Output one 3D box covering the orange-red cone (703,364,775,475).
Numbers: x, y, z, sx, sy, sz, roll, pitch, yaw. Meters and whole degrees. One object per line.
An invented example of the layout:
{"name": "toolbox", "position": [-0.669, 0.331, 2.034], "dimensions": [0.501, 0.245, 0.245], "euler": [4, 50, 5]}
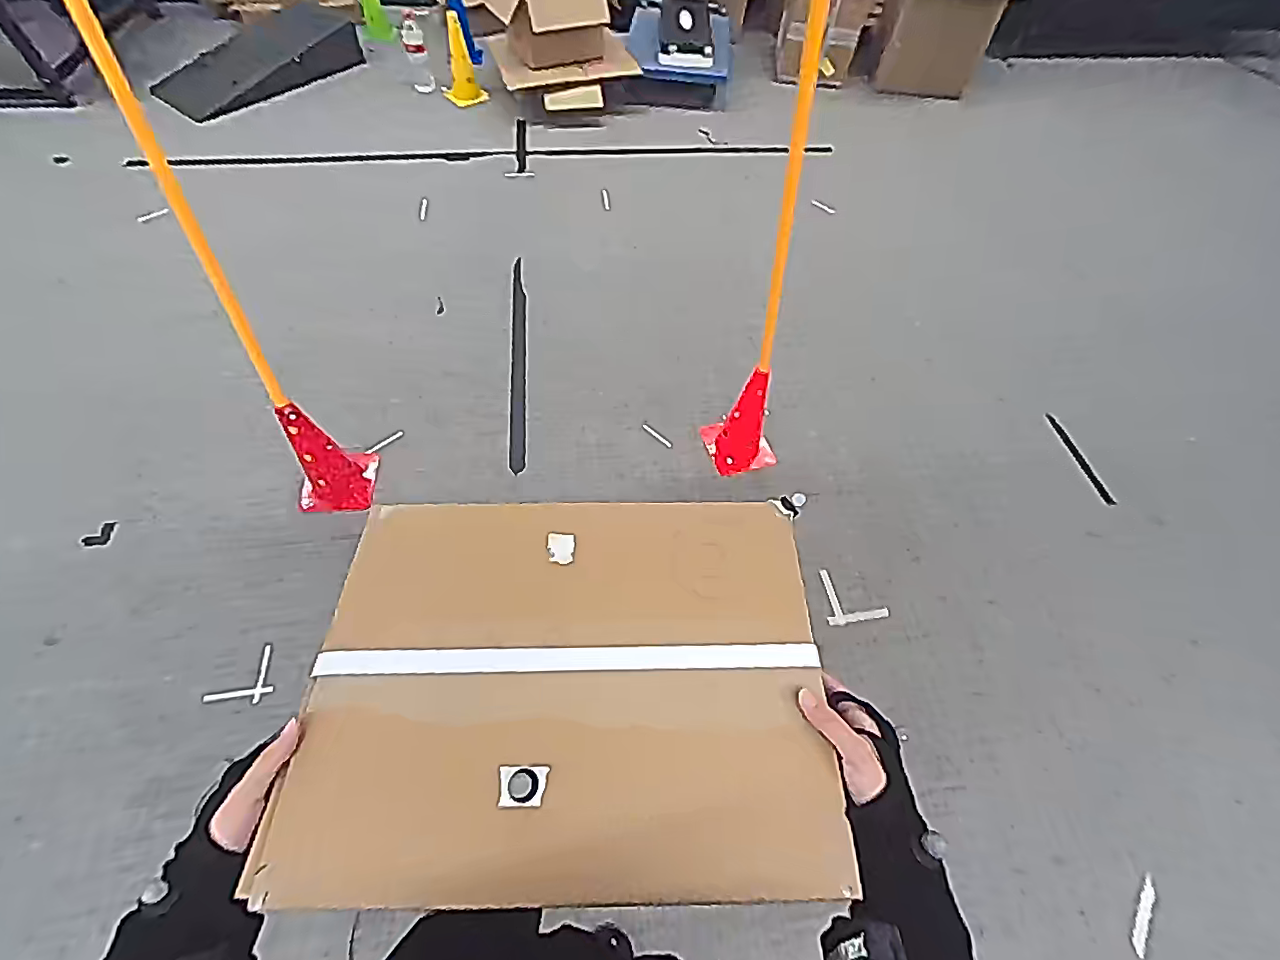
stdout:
{"name": "orange-red cone", "position": [0.326, -0.202, 1.584], "dimensions": [0.199, 0.360, 0.198], "euler": [-11, 59, -12]}
